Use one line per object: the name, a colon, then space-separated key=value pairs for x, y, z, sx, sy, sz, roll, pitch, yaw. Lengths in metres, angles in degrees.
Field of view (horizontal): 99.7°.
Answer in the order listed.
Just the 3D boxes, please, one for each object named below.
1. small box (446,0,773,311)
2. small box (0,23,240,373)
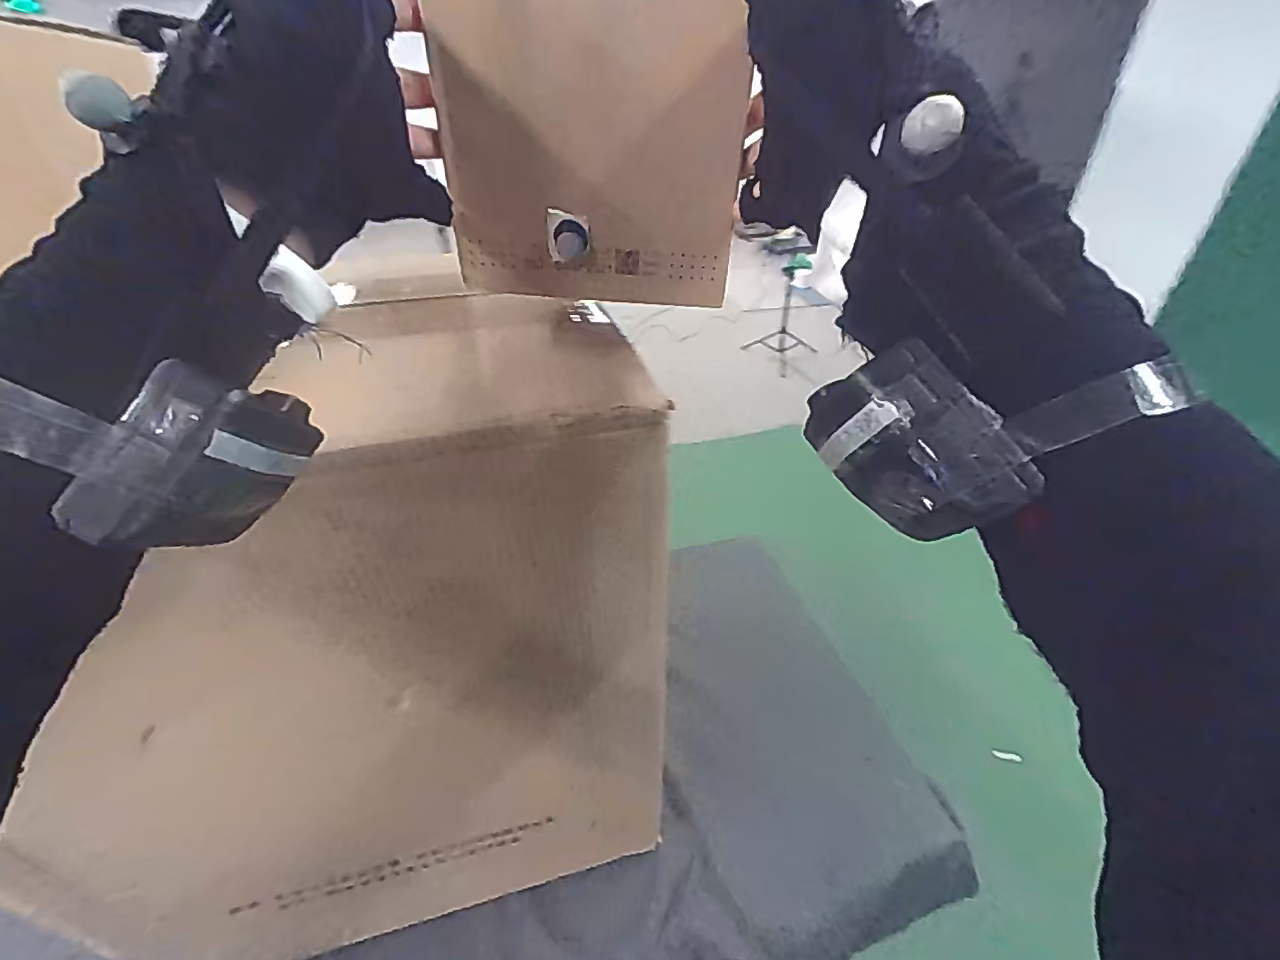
small box: x=-0.015 y=-0.230 z=0.365 sx=0.168 sy=0.176 sz=0.179 roll=4 pitch=38 yaw=2
small box: x=-0.401 y=-0.177 z=0.349 sx=0.168 sy=0.176 sz=0.179 roll=-10 pitch=35 yaw=-11
